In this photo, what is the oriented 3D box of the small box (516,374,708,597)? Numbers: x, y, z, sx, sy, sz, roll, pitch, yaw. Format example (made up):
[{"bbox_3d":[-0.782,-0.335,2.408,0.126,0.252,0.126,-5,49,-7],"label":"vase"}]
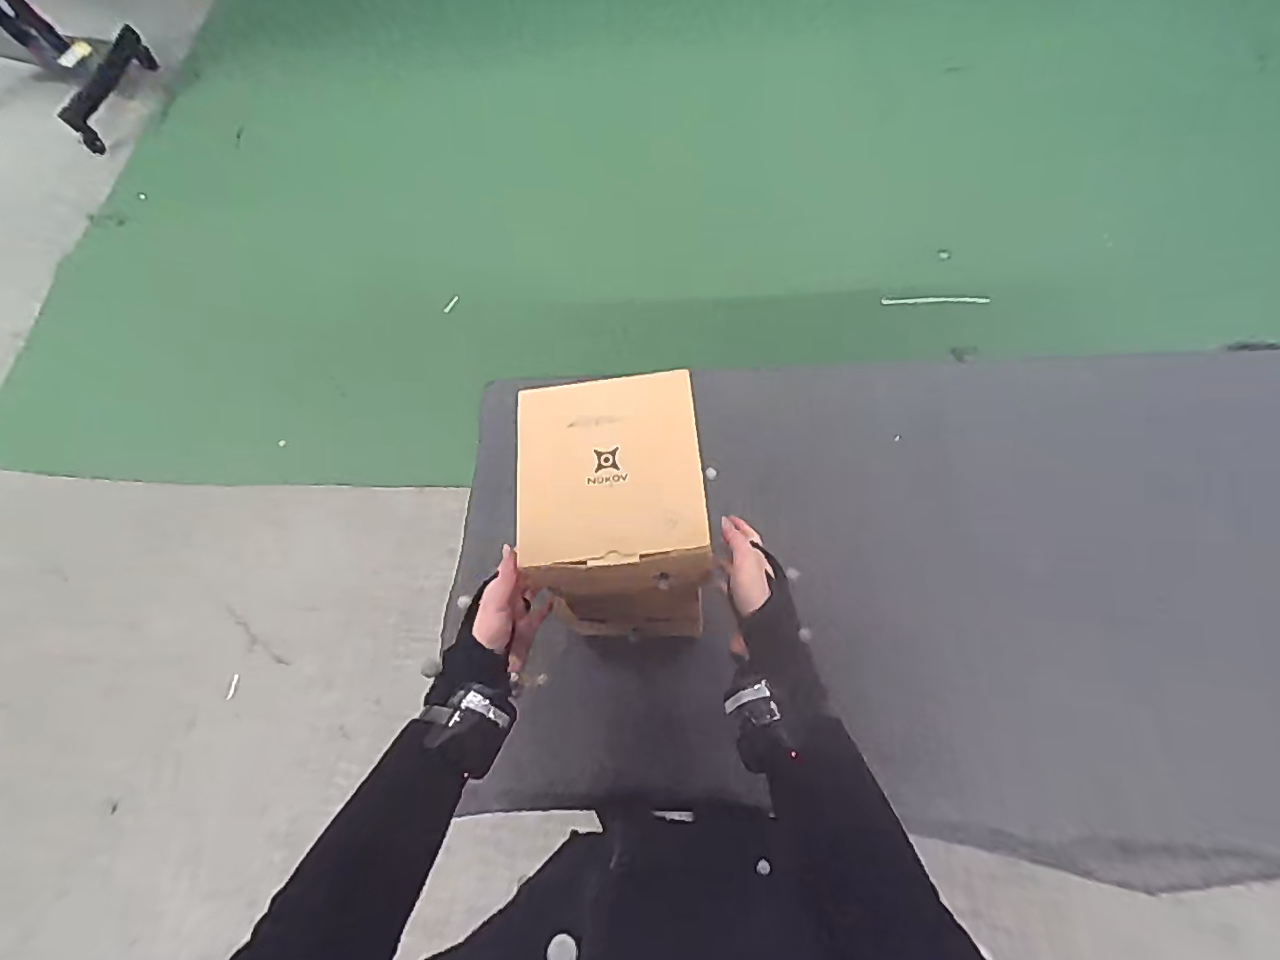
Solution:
[{"bbox_3d":[-0.021,0.018,0.552,0.168,0.176,0.179,-7,67,4],"label":"small box"}]

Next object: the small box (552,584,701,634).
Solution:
[{"bbox_3d":[-0.006,0.102,0.693,0.168,0.176,0.179,-1,69,6],"label":"small box"}]
